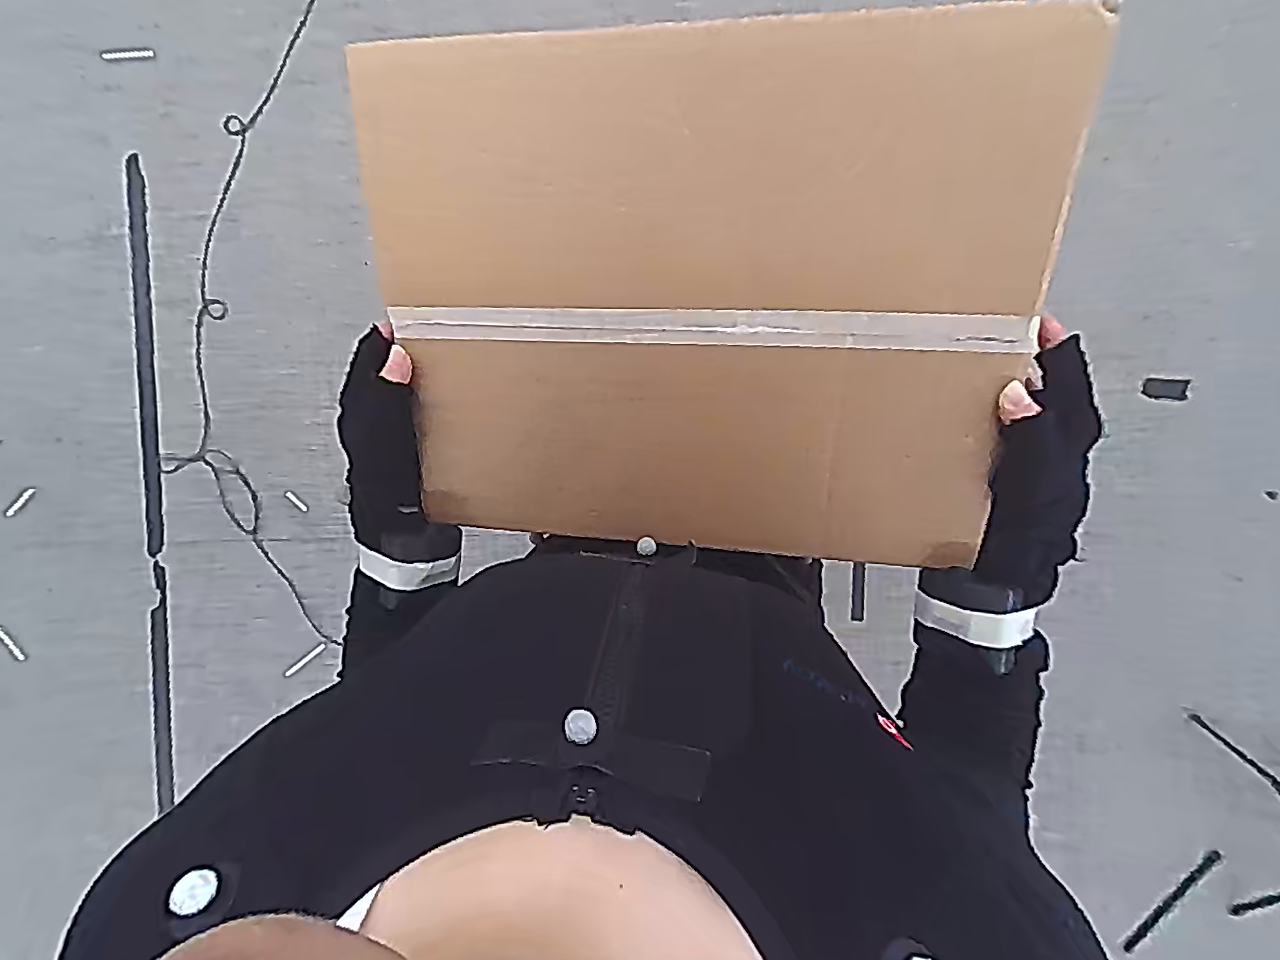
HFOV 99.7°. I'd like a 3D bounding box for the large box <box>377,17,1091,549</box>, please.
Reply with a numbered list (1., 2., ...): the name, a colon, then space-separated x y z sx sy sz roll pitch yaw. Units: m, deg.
1. large box: 0.056 -0.157 0.493 0.408 0.320 0.320 4 114 9
